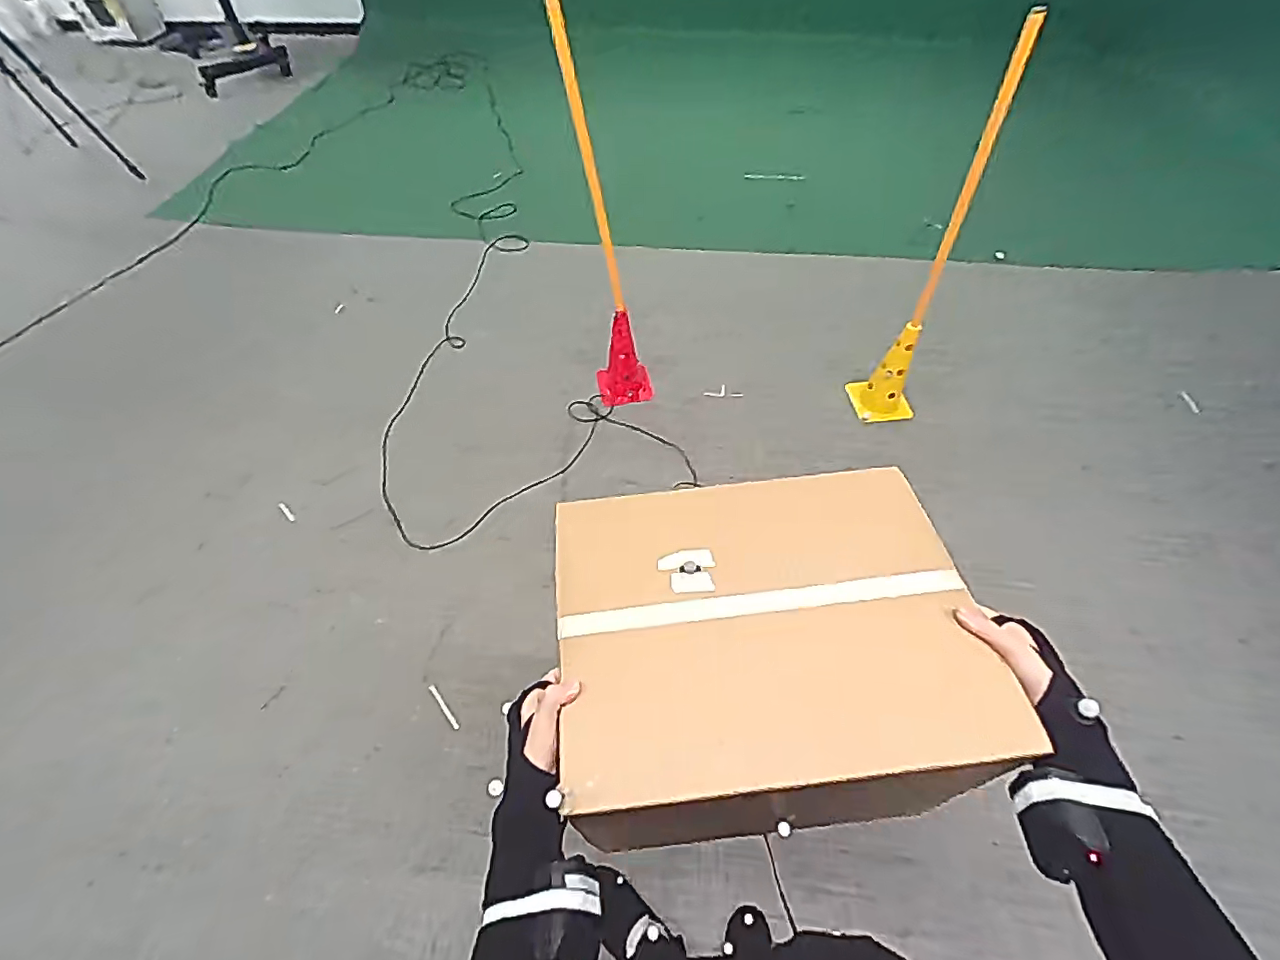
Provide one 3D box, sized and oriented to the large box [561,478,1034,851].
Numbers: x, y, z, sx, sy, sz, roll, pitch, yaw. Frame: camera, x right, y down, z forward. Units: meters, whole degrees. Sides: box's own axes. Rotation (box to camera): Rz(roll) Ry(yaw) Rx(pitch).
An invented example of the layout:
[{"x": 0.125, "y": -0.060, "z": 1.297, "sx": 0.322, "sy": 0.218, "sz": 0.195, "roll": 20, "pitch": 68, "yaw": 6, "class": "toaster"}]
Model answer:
[{"x": 0.132, "y": 0.231, "z": 0.656, "sx": 0.408, "sy": 0.320, "sz": 0.320, "roll": -7, "pitch": 50, "yaw": -1, "class": "large box"}]
